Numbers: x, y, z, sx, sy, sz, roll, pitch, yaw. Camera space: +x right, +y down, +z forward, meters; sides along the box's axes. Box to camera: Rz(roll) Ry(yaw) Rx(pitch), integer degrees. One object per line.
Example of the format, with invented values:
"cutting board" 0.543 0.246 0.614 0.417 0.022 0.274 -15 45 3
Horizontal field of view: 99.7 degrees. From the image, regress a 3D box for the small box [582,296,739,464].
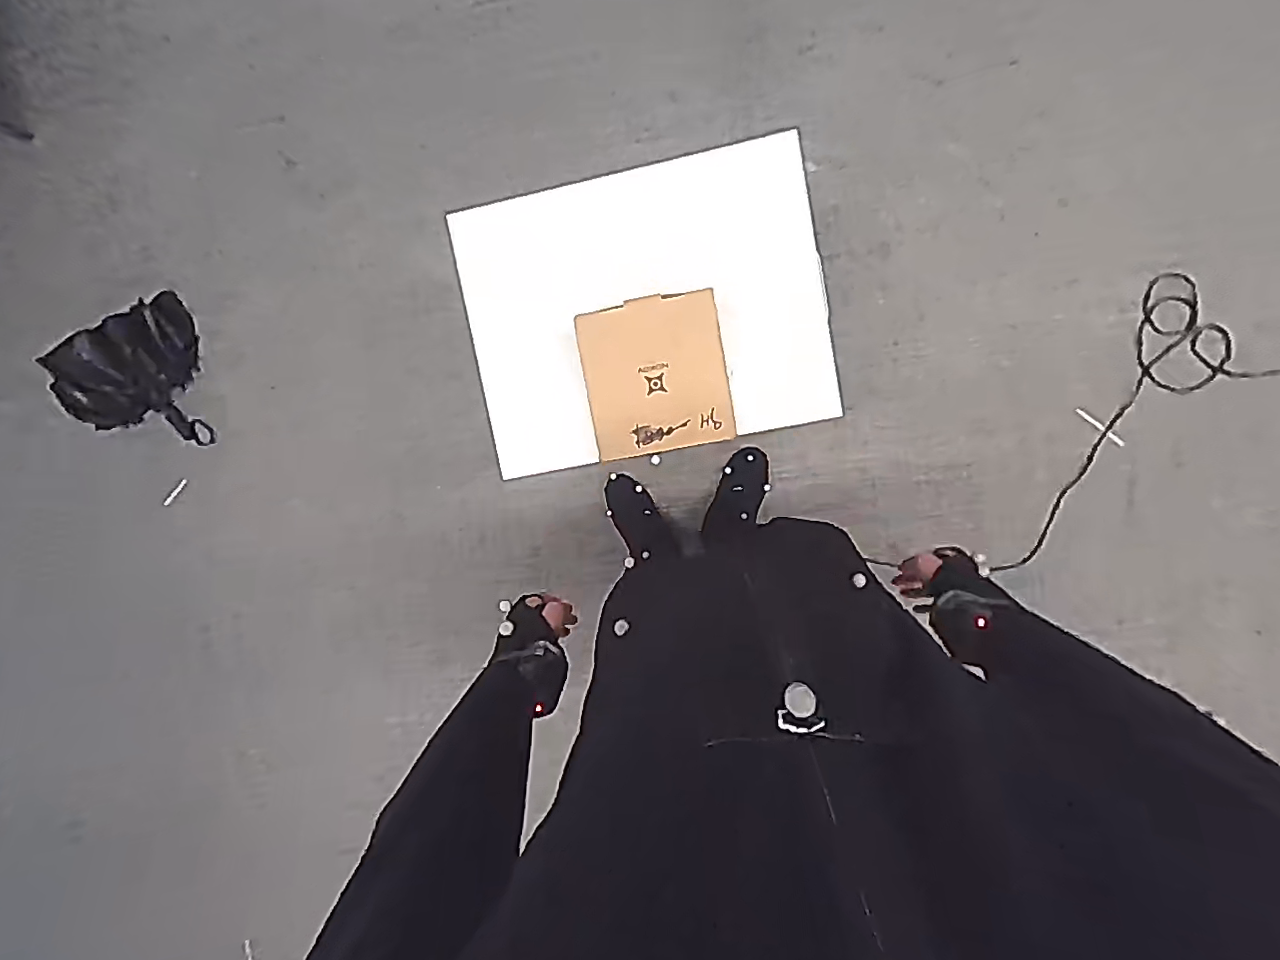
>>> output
"small box" 0.030 -0.119 0.709 0.168 0.176 0.179 -9 92 6
